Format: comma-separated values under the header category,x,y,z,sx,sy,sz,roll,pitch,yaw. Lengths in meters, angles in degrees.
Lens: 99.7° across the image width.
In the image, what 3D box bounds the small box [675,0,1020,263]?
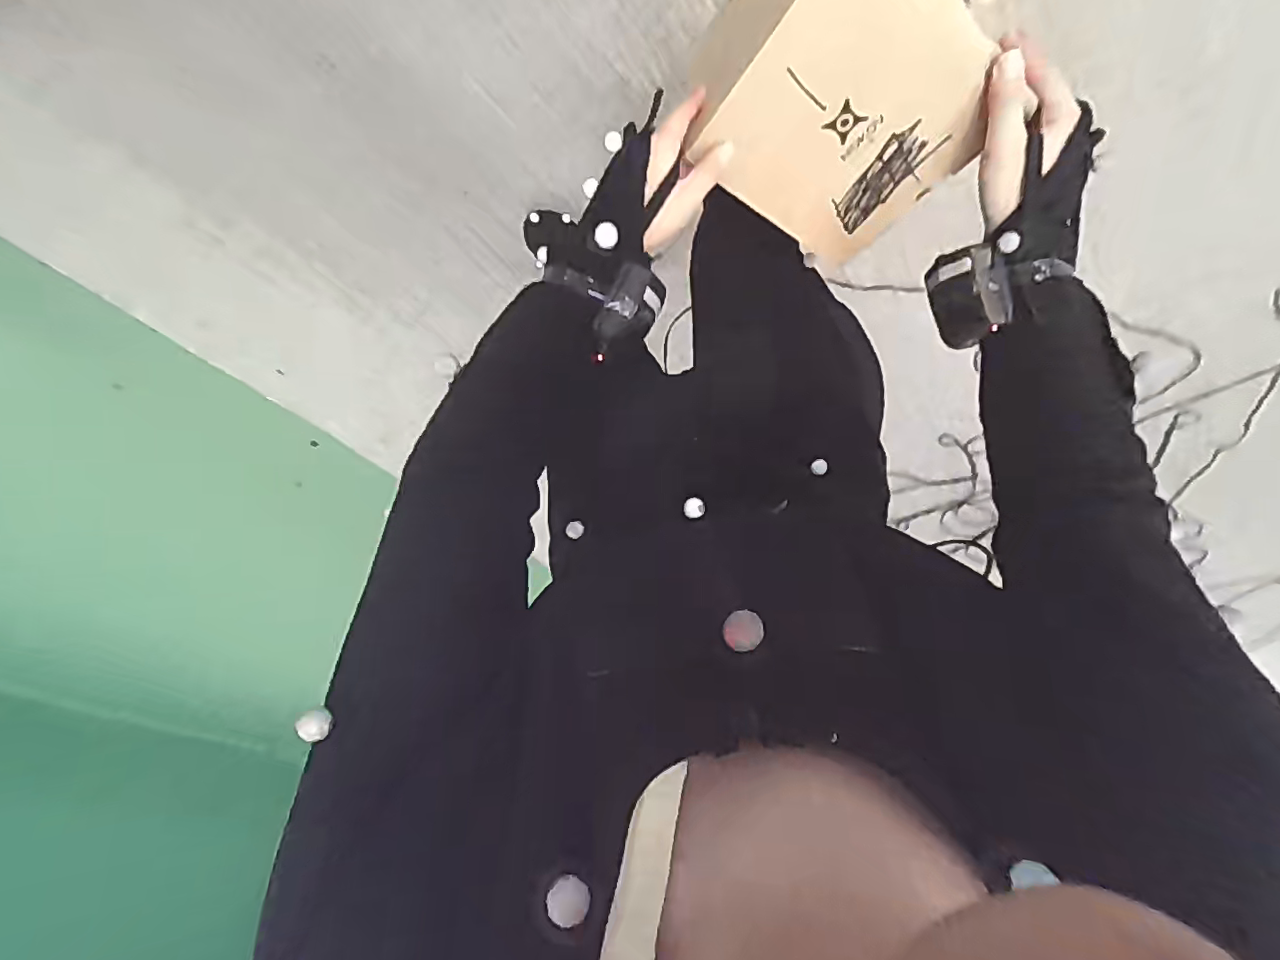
category,x,y,z,sx,sy,sz,roll,pitch,yaw
small box,0.147,-0.318,0.420,0.179,0.176,0.168,21,147,-25
